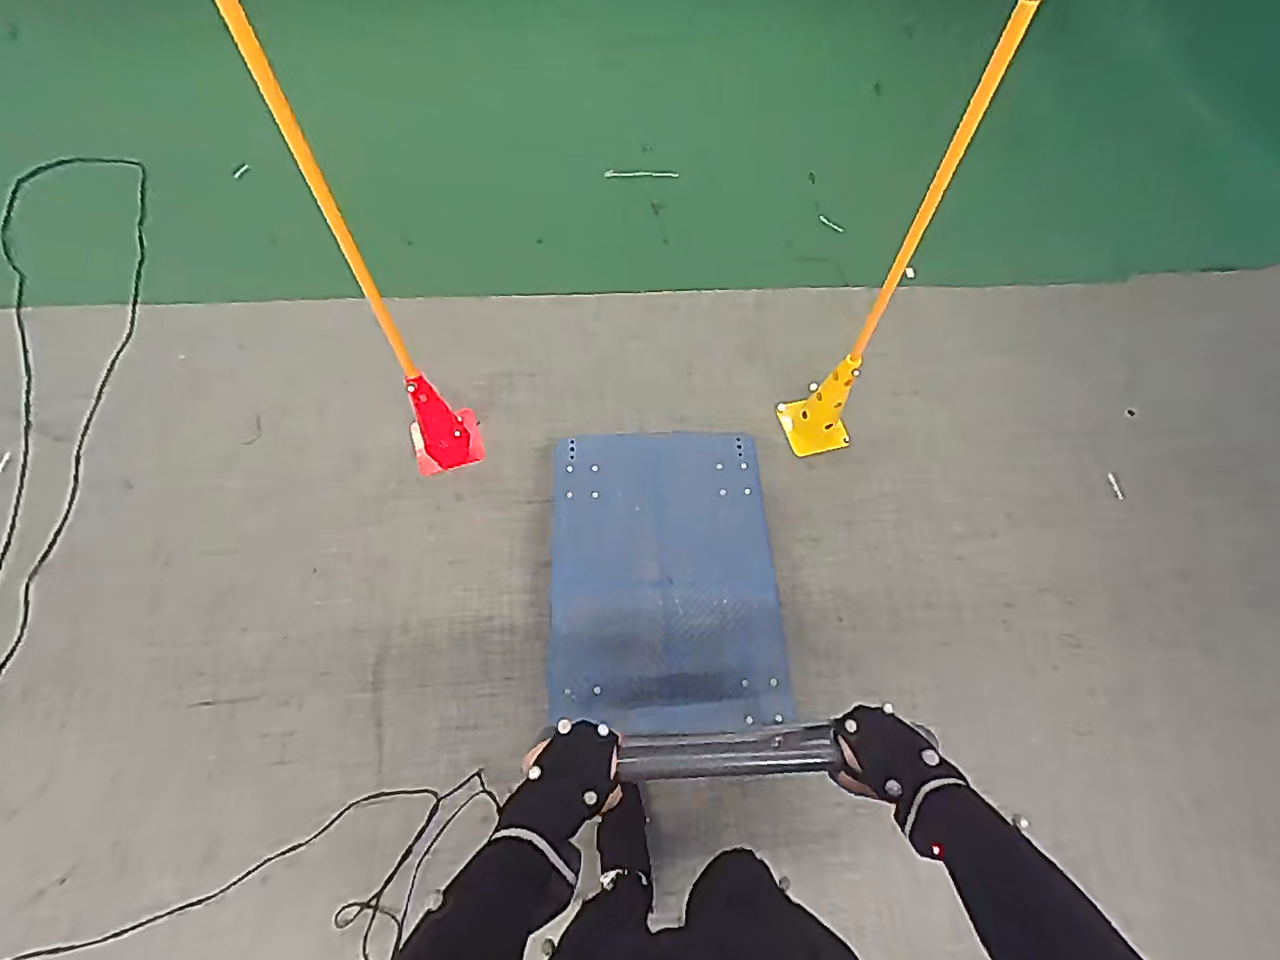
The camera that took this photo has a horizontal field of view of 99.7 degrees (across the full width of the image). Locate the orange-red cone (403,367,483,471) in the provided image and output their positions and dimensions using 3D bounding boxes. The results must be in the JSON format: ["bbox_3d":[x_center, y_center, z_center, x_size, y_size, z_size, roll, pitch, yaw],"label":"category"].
[{"bbox_3d":[-0.599,-0.201,1.547,0.199,0.360,0.198,-17,67,-9],"label":"orange-red cone"}]
